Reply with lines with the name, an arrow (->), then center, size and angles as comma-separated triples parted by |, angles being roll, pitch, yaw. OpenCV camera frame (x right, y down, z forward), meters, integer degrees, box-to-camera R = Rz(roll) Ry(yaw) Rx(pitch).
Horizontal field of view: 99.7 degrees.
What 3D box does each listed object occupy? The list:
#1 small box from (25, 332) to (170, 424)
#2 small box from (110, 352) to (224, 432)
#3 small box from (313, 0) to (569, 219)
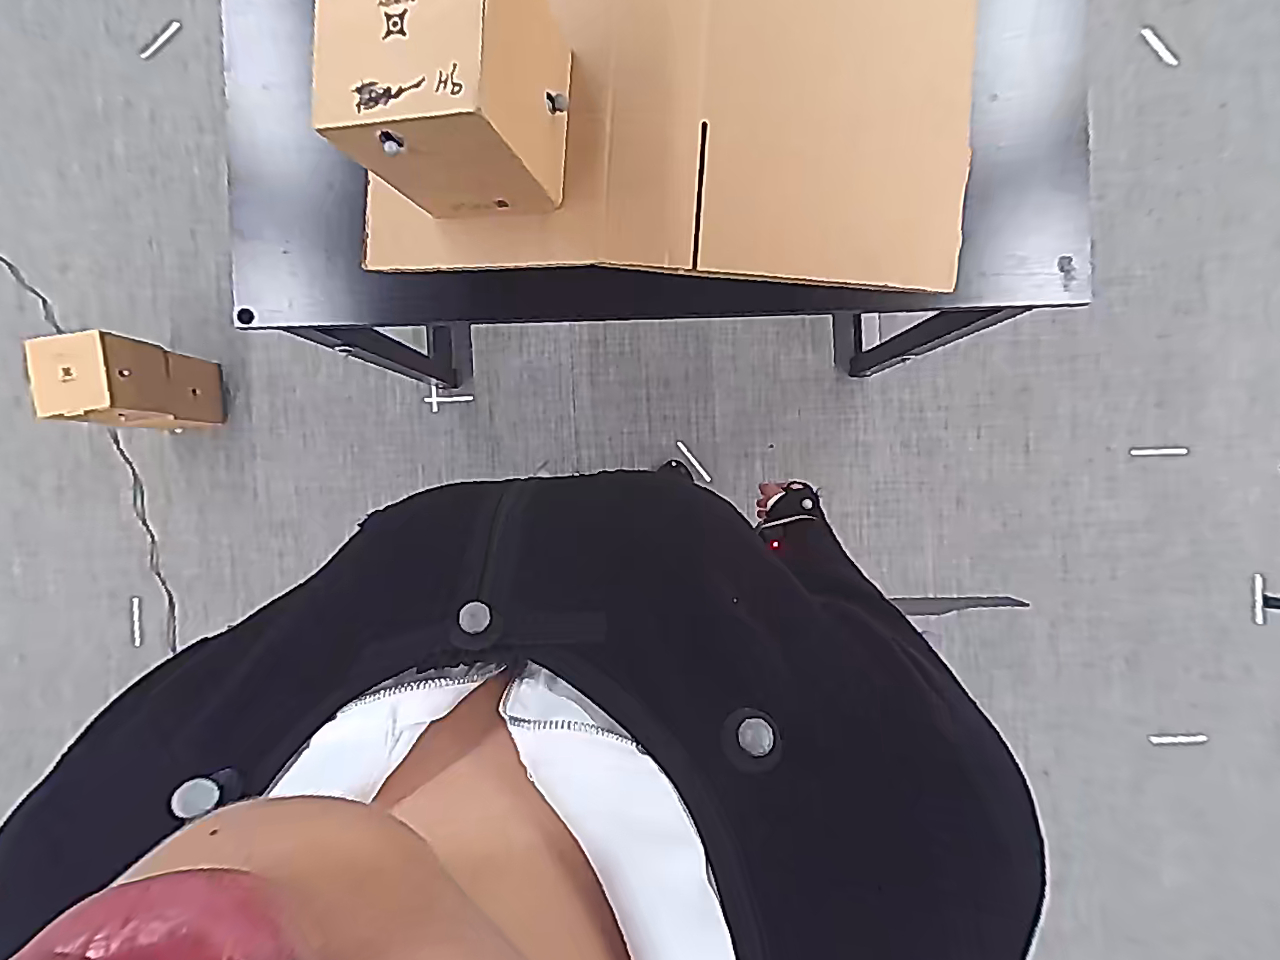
small box -> -1.244, -0.228, 1.255 | 0.168, 0.176, 0.179 | -8, 90, 0
small box -> -1.241, -0.225, 1.418 | 0.168, 0.176, 0.179 | -5, 92, 1
small box -> -0.177, -0.381, 0.525 | 0.168, 0.176, 0.179 | 4, 91, 15
